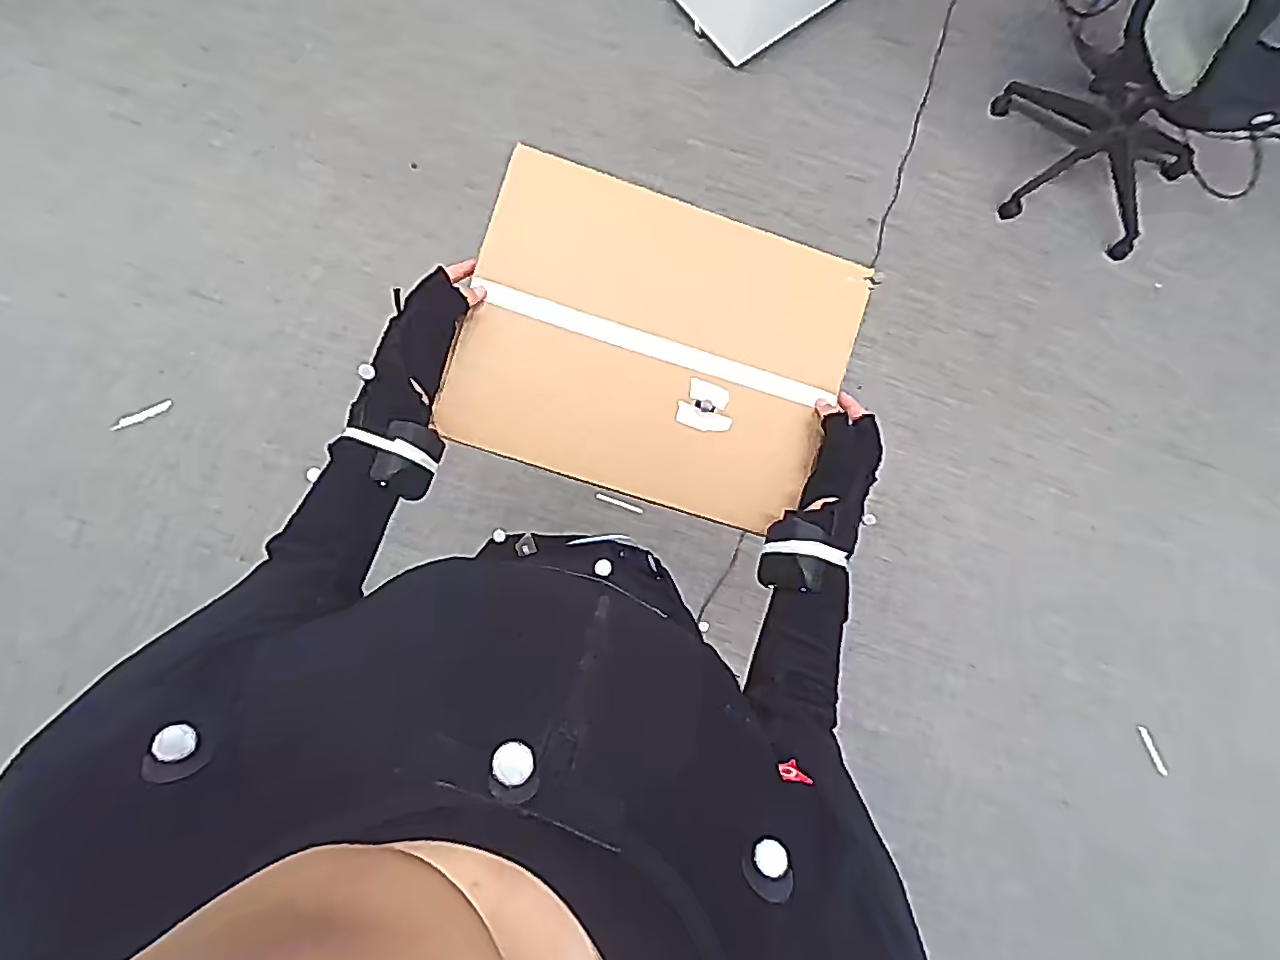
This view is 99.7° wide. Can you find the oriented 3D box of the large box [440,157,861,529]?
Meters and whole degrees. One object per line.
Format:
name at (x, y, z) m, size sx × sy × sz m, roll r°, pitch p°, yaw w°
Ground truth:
large box at (0.004, -0.146, 0.735) m, size 0.408 × 0.320 × 0.320 m, roll 18°, pitch 90°, yaw -5°
